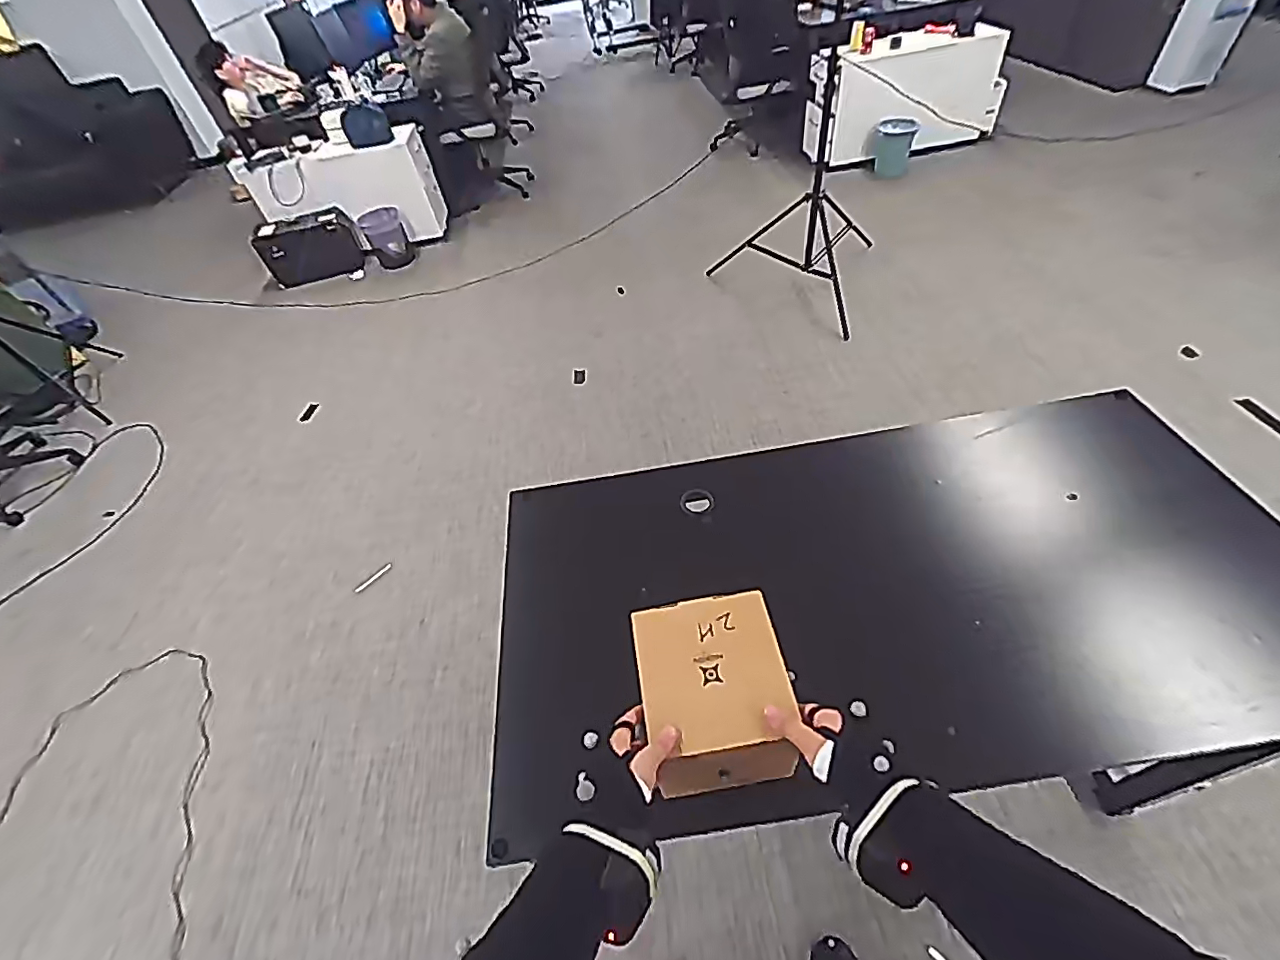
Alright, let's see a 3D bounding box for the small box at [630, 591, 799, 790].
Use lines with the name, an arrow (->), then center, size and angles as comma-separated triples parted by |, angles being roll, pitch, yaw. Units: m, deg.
small box -> 0.088, 0.268, 0.674 | 0.168, 0.176, 0.179 | -11, 47, 0
